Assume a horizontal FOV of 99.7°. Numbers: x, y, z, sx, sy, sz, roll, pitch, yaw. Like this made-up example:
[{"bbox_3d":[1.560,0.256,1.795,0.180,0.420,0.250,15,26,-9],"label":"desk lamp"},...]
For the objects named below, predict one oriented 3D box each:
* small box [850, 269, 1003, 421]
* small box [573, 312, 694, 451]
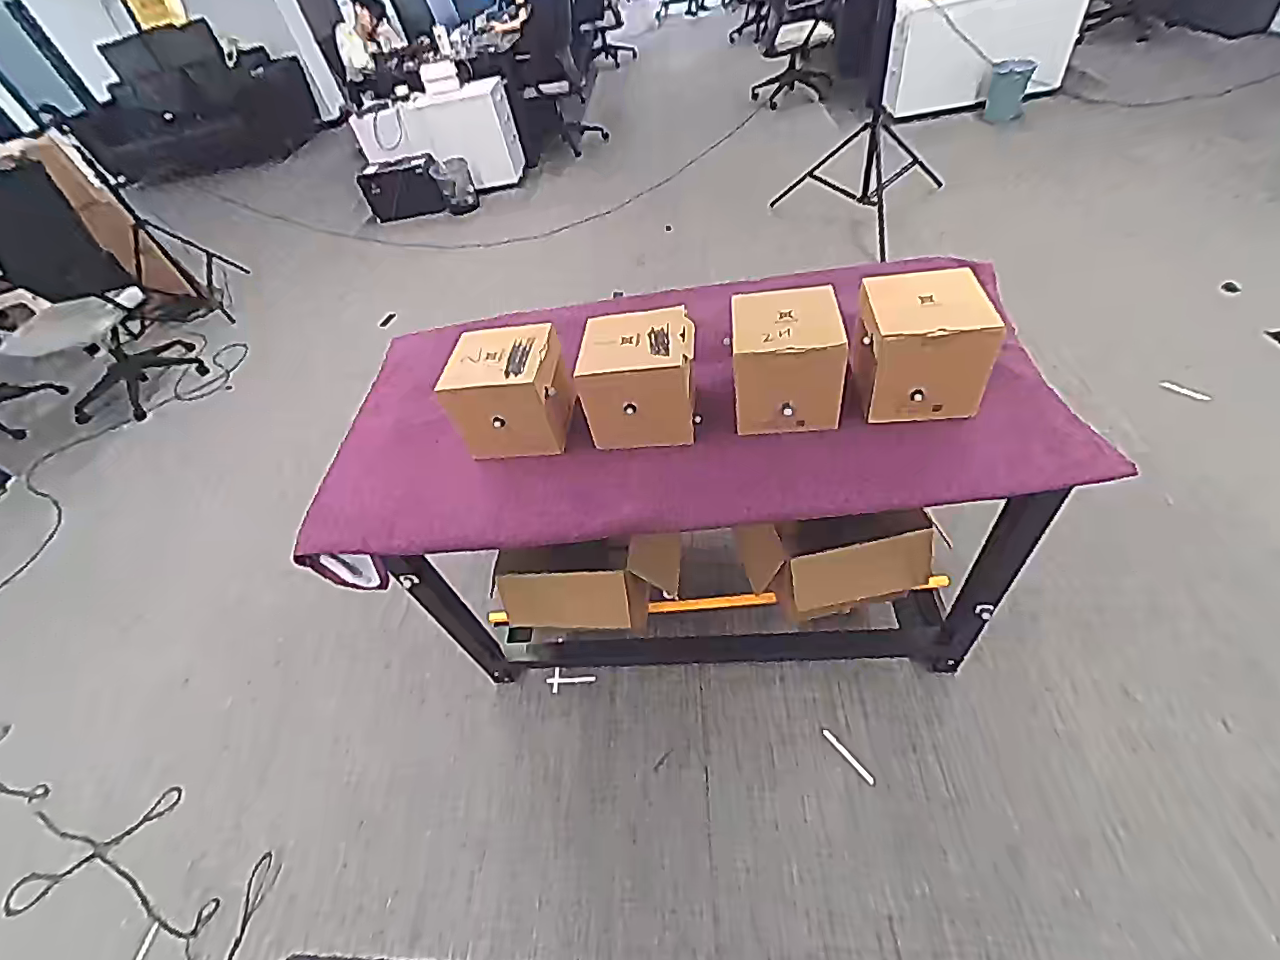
[{"bbox_3d":[0.447,-0.216,0.879,0.168,0.176,0.179,-3,47,11],"label":"small box"},{"bbox_3d":[0.000,-0.167,0.941,0.179,0.176,0.168,-4,48,12],"label":"small box"}]
